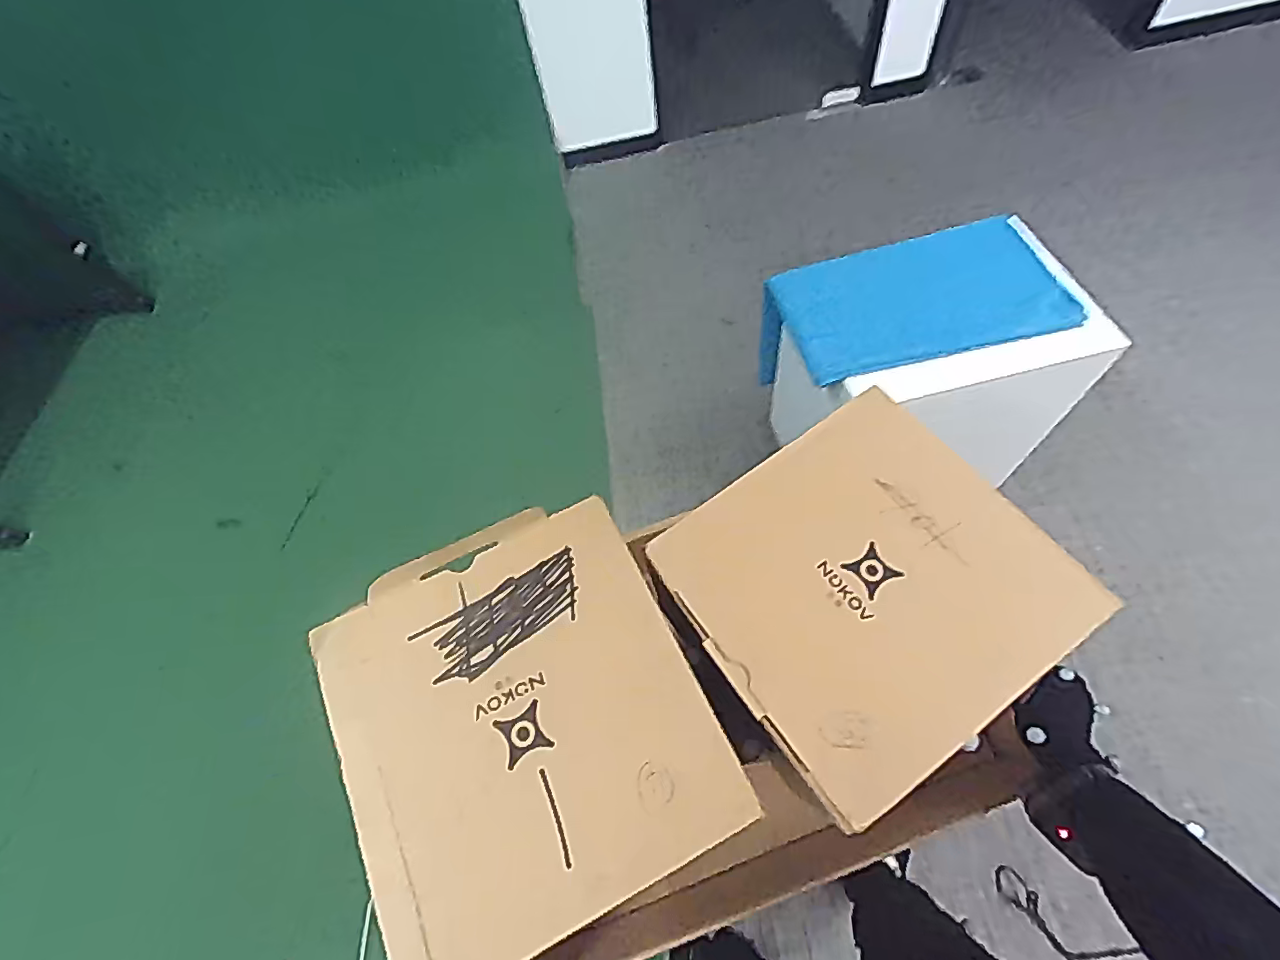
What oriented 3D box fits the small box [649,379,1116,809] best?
[{"bbox_3d":[0.128,0.076,0.354,0.179,0.176,0.168,-33,66,-9],"label":"small box"}]
